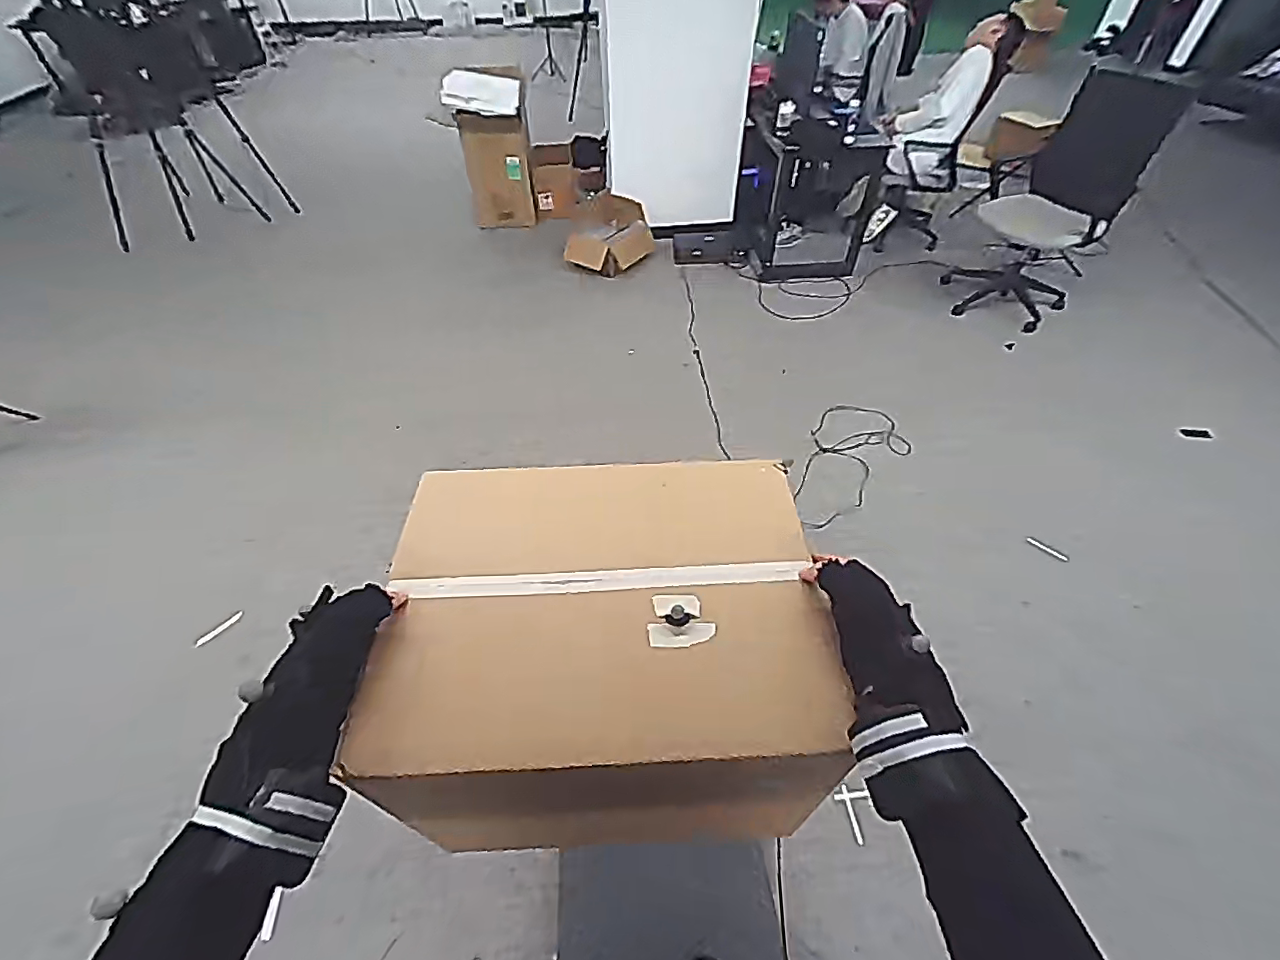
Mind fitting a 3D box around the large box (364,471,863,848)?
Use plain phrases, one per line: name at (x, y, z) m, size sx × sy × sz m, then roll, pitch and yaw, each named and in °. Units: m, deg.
large box at (-0.025, 0.209, 0.632) m, size 0.408 × 0.320 × 0.320 m, roll -1°, pitch 47°, yaw -1°
